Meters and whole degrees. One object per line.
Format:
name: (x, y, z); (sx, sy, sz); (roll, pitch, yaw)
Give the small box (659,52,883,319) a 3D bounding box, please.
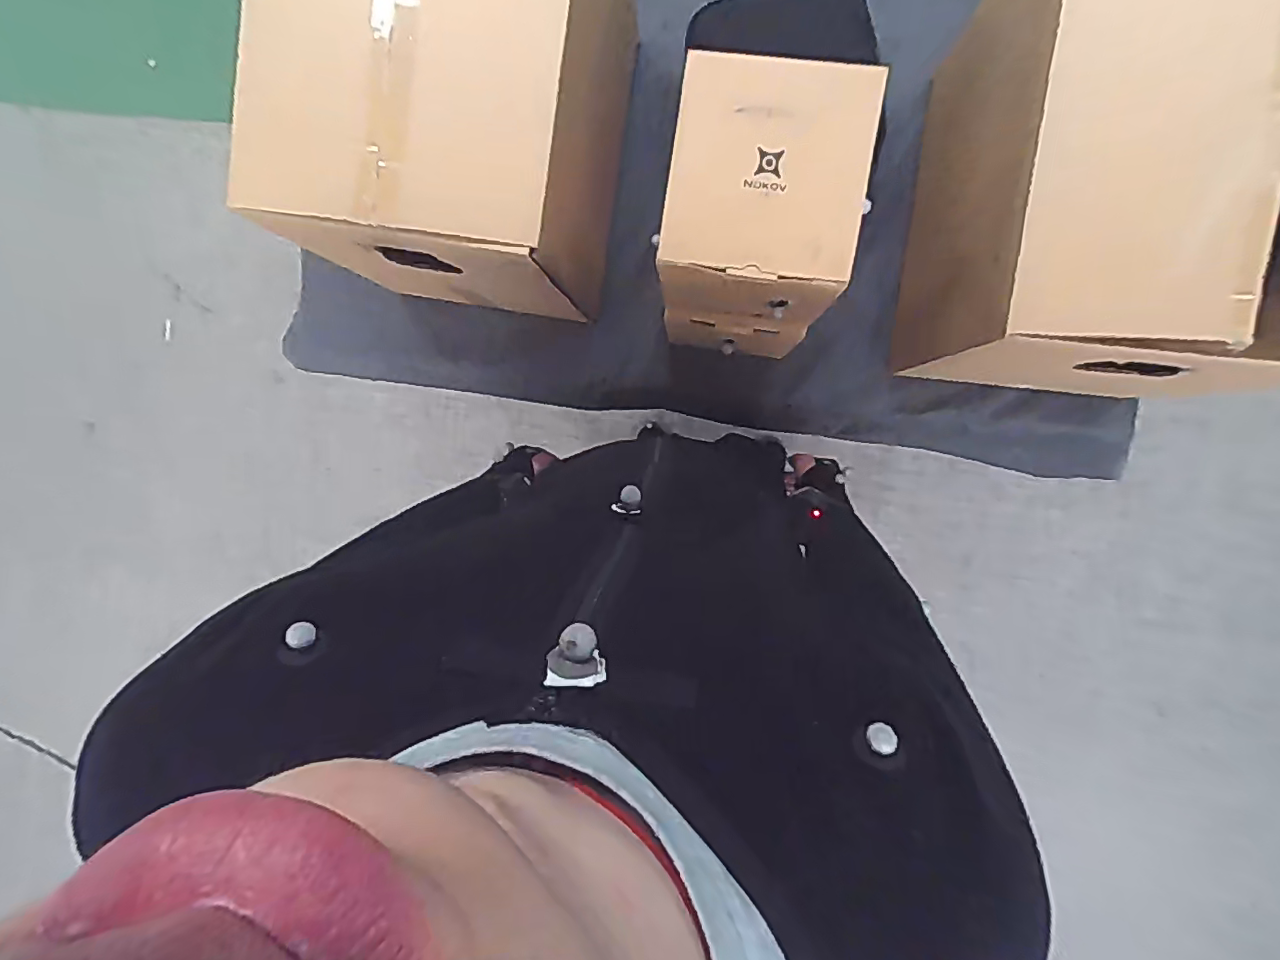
small box: (0.115, -0.269, 0.536); (0.168, 0.176, 0.179); (8, 94, 3)
